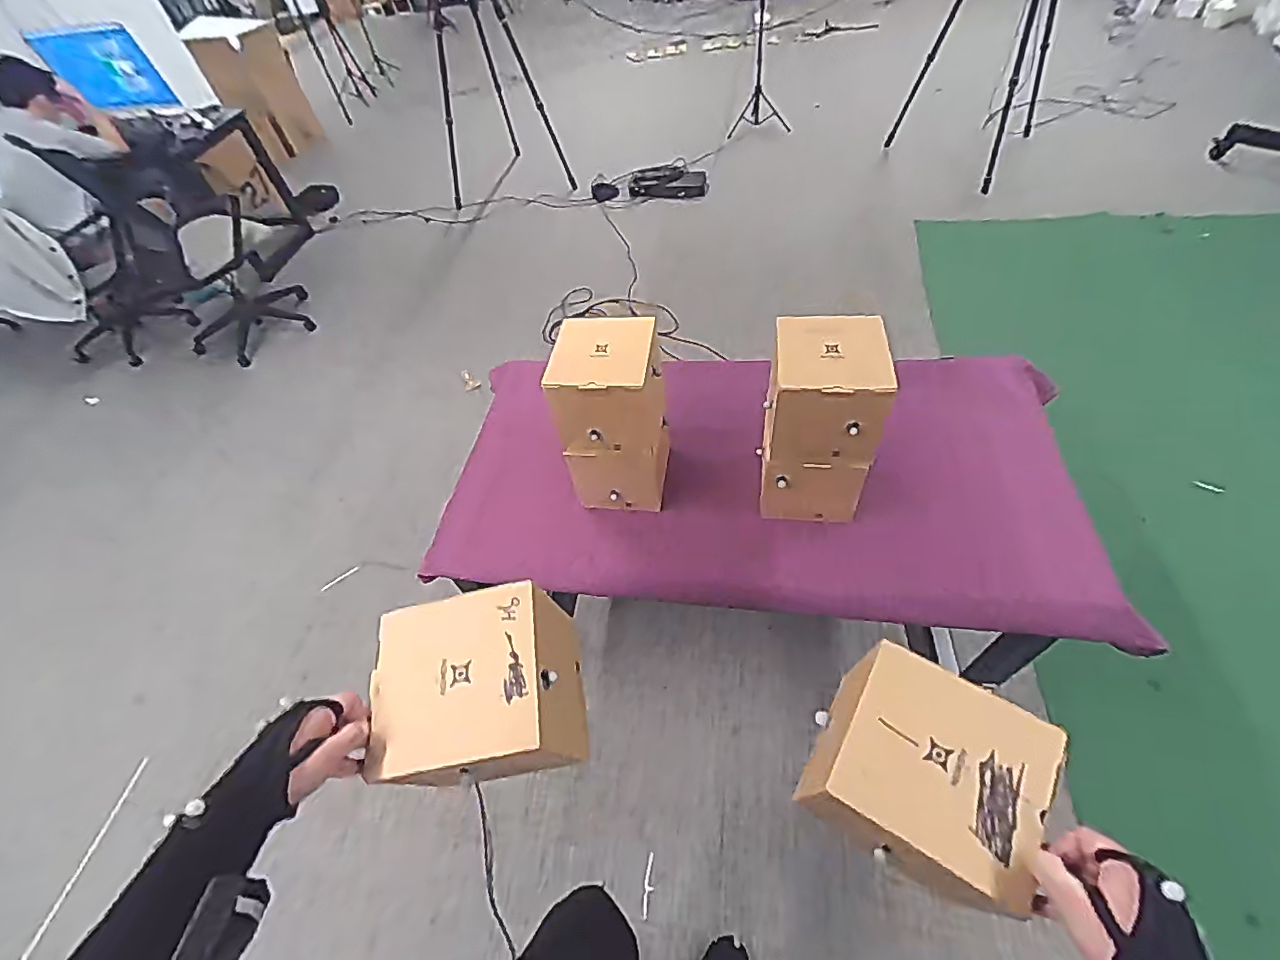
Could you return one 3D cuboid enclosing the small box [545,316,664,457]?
[{"bbox_3d":[-0.050,-0.161,0.935,0.168,0.176,0.179,3,53,9],"label":"small box"}]

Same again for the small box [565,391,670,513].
[{"bbox_3d":[-0.034,-0.059,1.061,0.168,0.176,0.179,3,53,11],"label":"small box"}]

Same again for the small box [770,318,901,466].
[{"bbox_3d":[0.303,-0.139,0.870,0.168,0.176,0.179,3,52,10],"label":"small box"}]

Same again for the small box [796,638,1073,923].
[{"bbox_3d":[0.284,0.297,0.553,0.179,0.176,0.168,27,62,20],"label":"small box"}]

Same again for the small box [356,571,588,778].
[{"bbox_3d":[-0.169,0.221,0.594,0.179,0.176,0.168,-13,58,6],"label":"small box"}]
